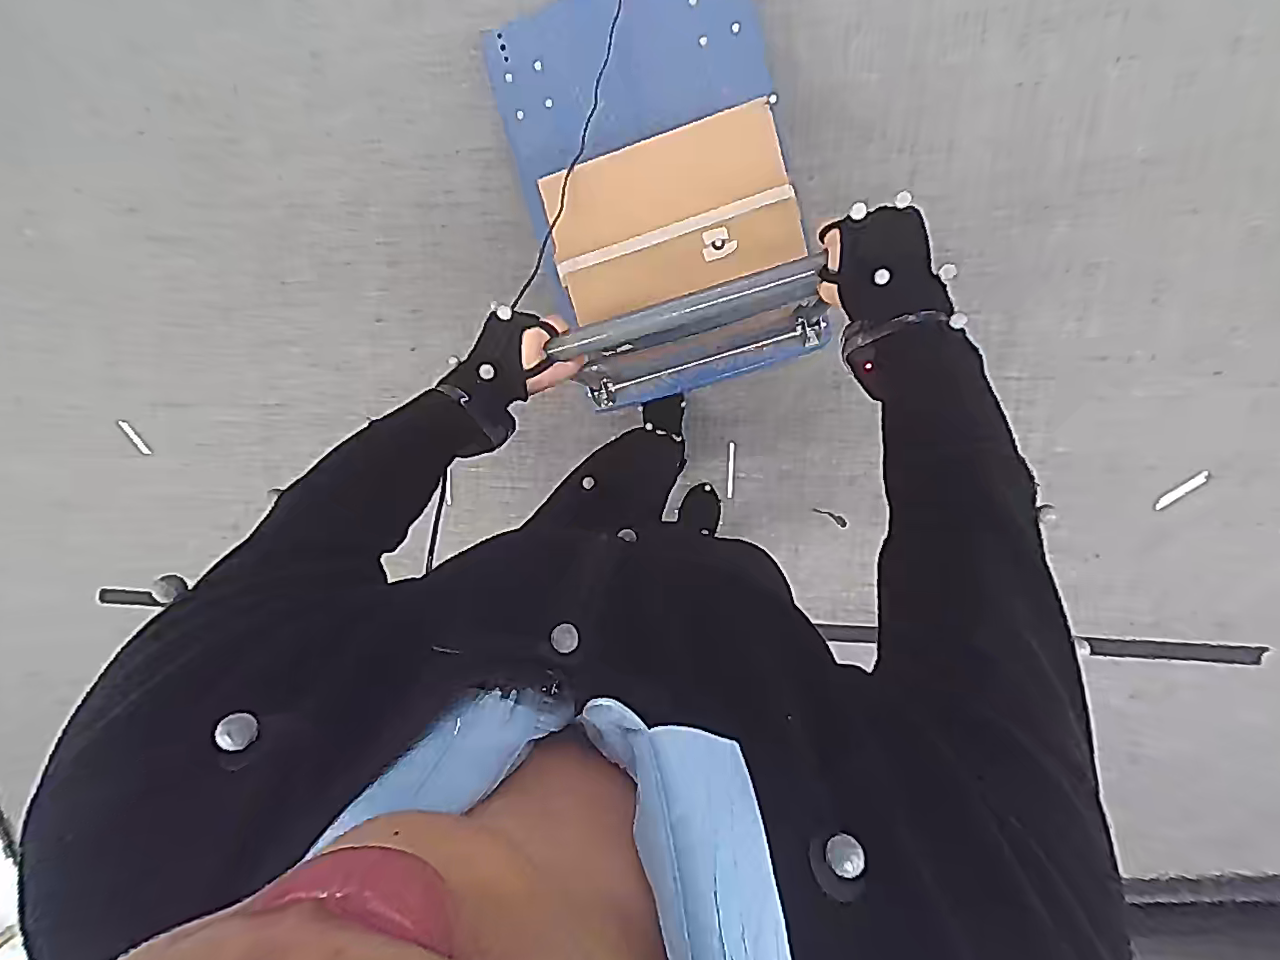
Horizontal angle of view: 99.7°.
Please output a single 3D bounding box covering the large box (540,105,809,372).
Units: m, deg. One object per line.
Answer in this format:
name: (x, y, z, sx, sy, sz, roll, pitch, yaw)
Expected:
large box: (0.069, -0.429, 1.065, 0.408, 0.320, 0.320, -15, 95, 8)
